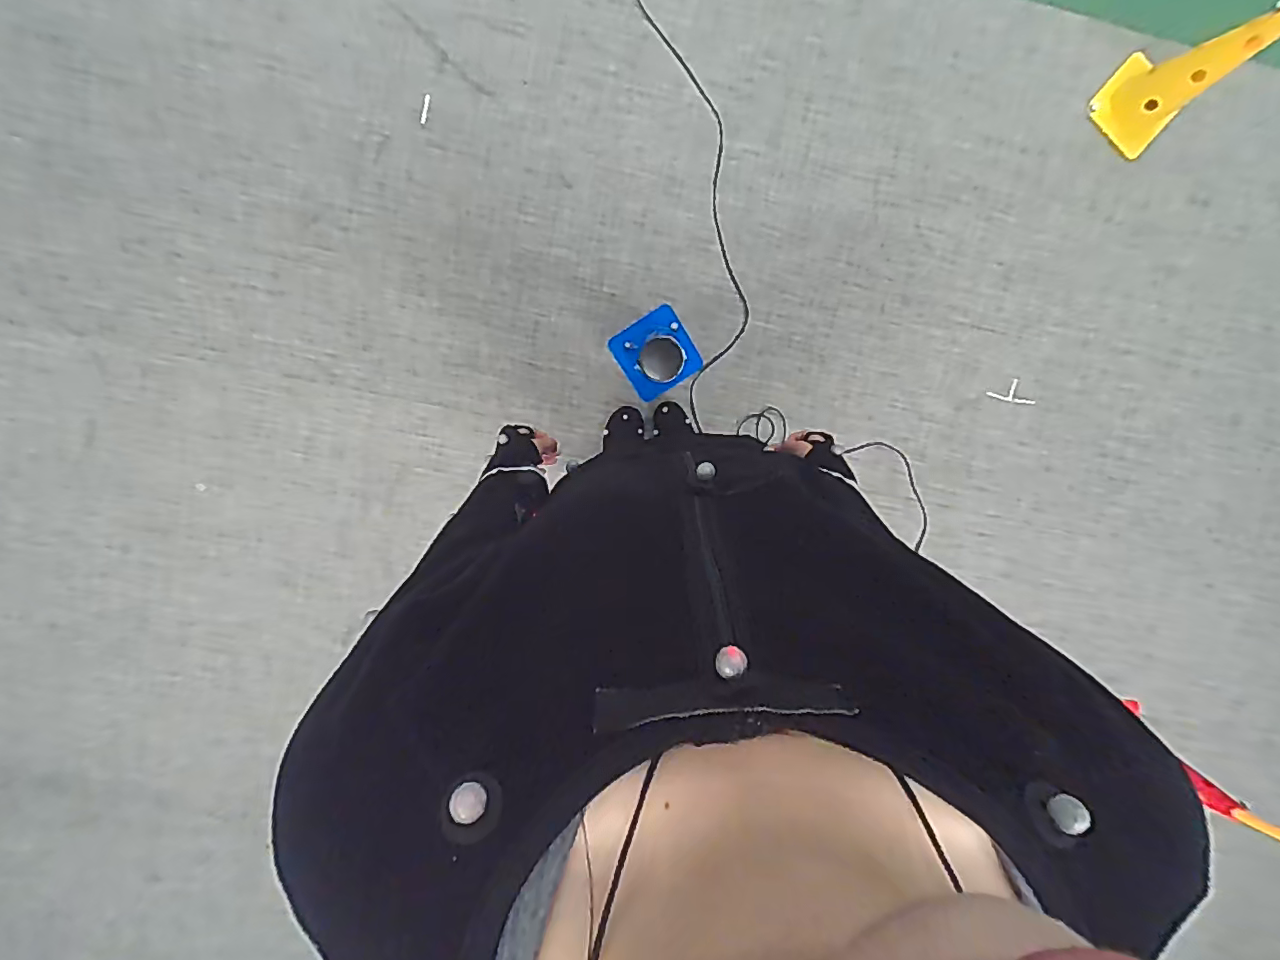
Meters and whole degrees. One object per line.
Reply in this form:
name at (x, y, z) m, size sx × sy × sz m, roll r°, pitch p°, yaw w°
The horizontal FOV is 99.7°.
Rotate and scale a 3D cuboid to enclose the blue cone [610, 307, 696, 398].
blue cone at (0.044, -0.307, 1.275) m, size 0.193 × 0.380 × 0.192 m, roll -34°, pitch 99°, yaw 3°
